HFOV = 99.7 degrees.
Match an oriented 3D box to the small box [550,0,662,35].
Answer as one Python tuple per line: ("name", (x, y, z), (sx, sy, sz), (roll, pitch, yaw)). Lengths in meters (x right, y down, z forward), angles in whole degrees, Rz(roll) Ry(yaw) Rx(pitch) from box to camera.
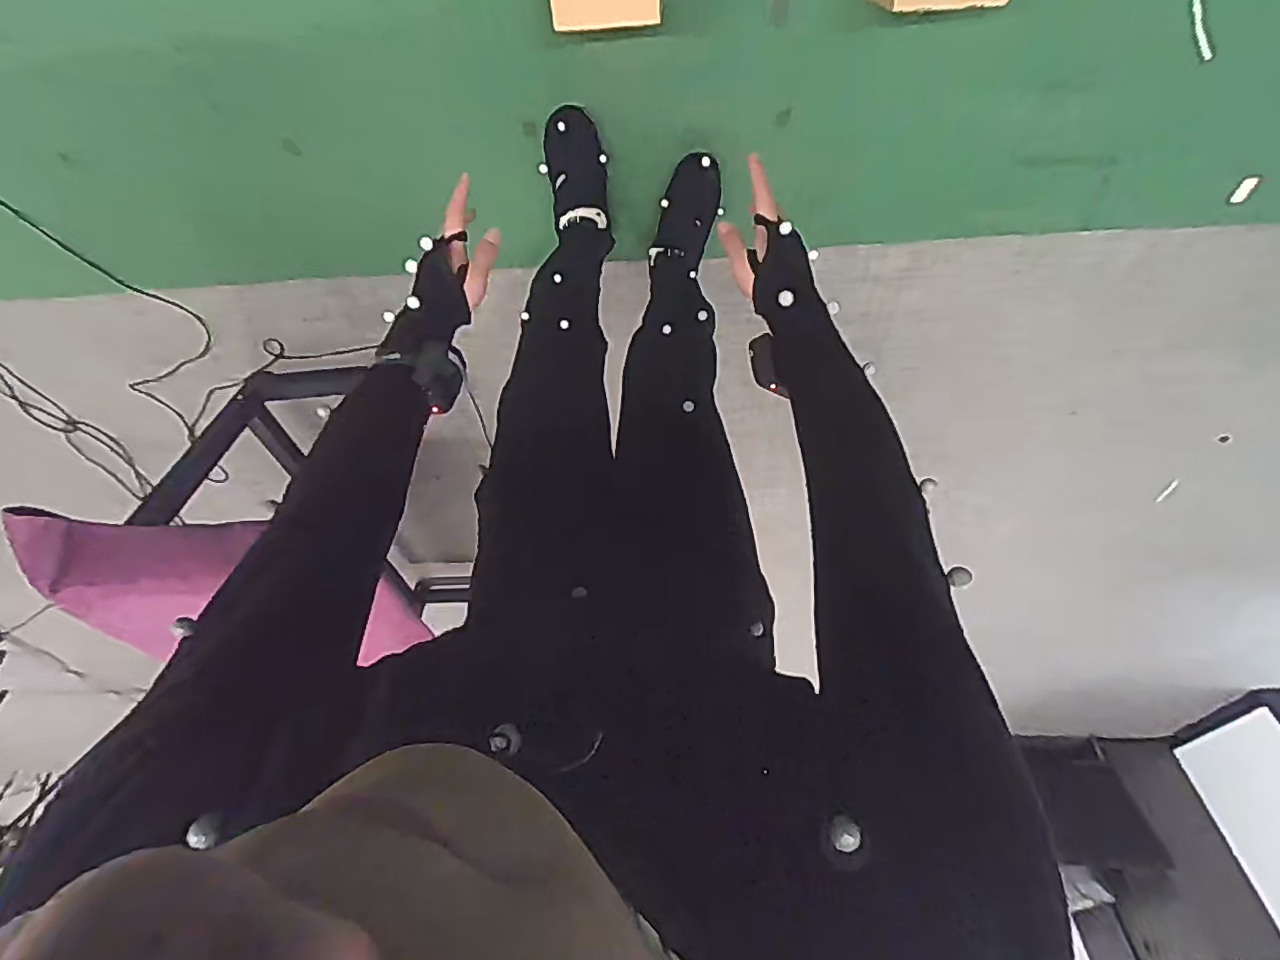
("small box", (-0.051, -0.800, 0.813), (0.168, 0.176, 0.179), (-2, 136, 4))

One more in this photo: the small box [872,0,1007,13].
("small box", (0.451, -0.808, 0.787), (0.168, 0.176, 0.179), (-1, 137, 2))
